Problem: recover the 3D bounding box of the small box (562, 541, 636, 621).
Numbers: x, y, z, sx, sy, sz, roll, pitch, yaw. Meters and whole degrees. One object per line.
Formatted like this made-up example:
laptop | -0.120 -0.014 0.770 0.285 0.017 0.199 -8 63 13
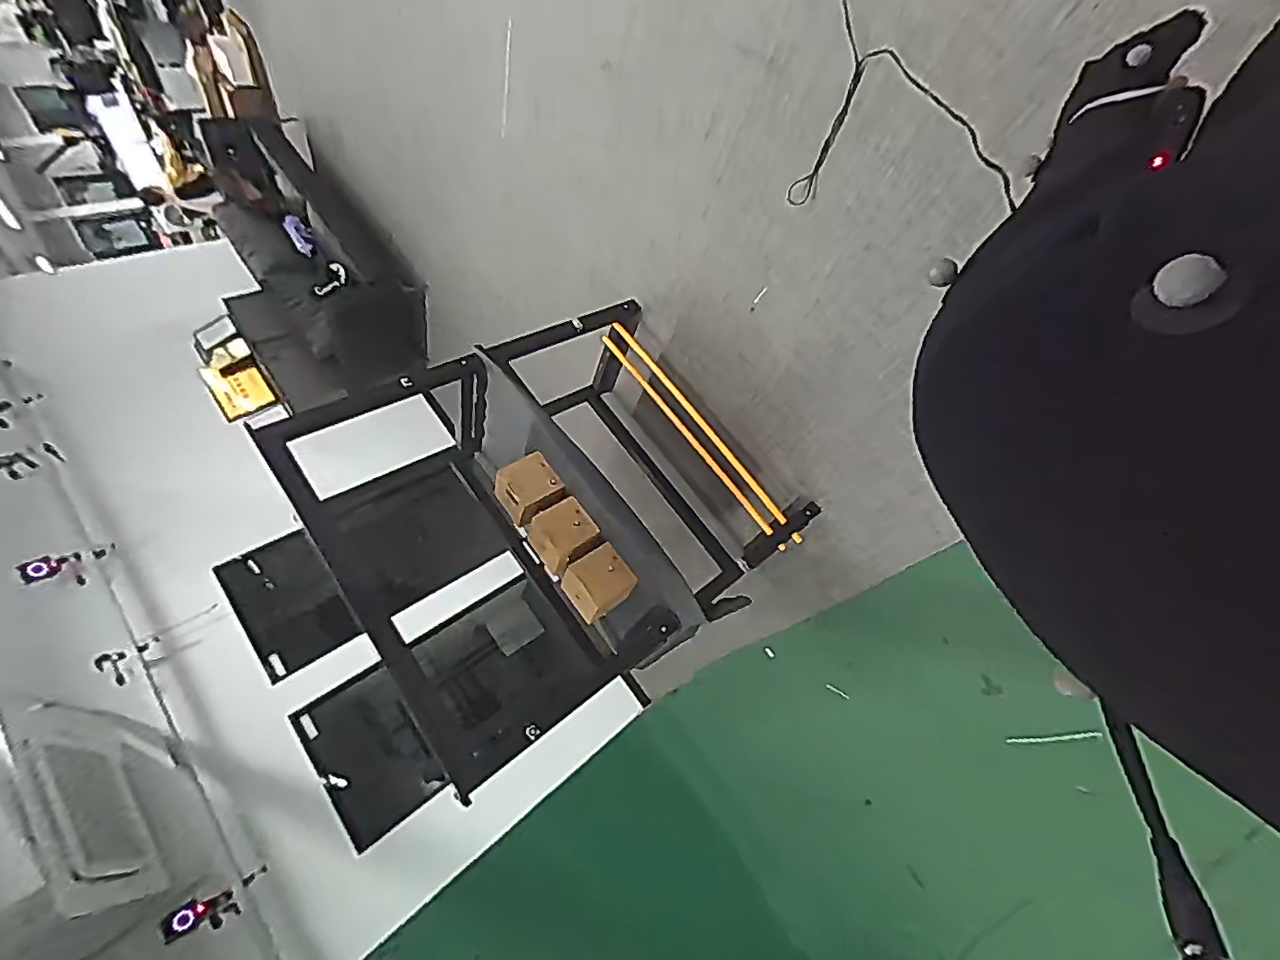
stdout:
small box | -0.135 0.332 1.785 0.168 0.176 0.179 50 148 16
